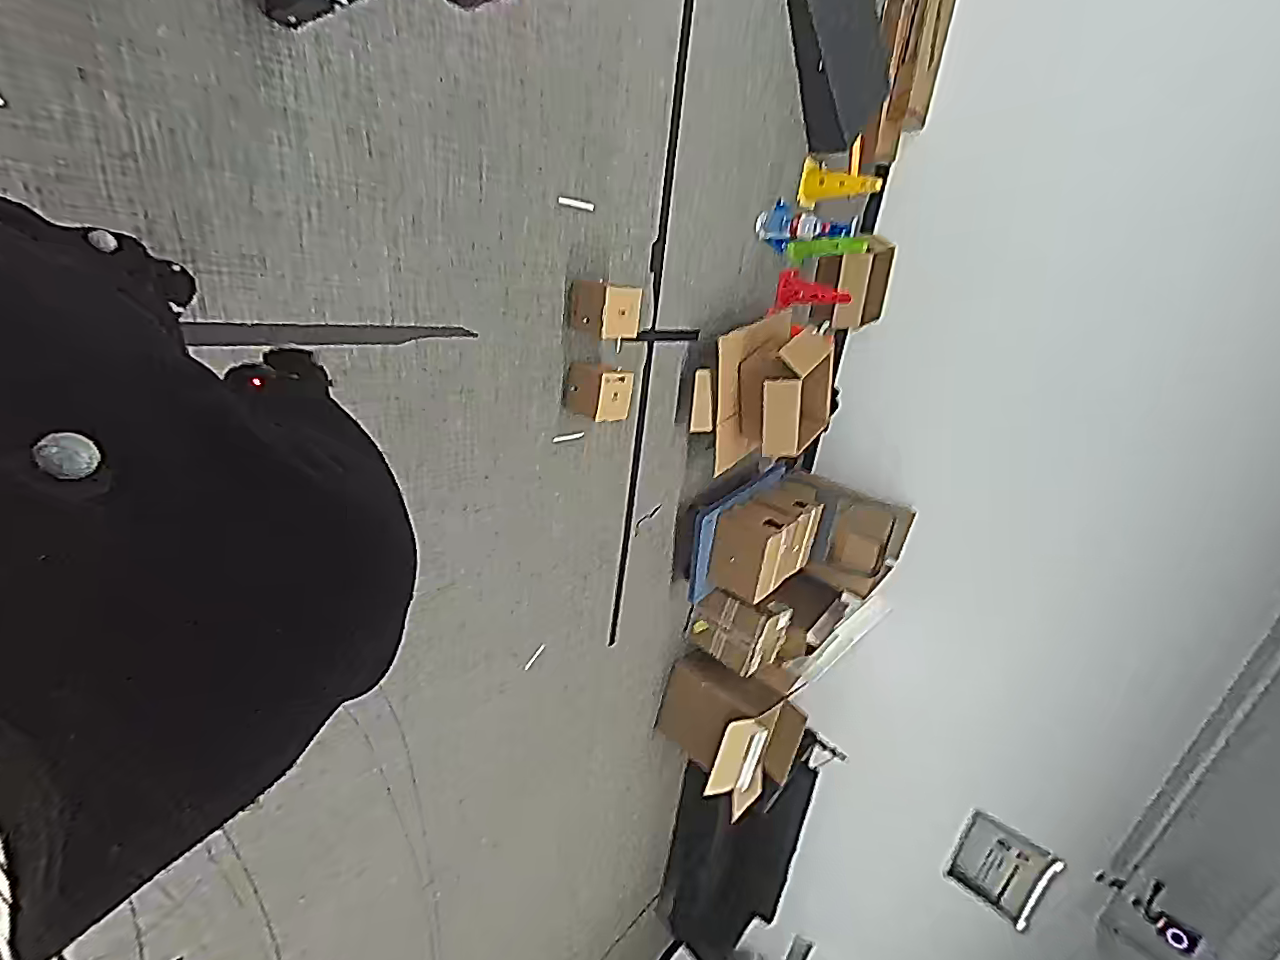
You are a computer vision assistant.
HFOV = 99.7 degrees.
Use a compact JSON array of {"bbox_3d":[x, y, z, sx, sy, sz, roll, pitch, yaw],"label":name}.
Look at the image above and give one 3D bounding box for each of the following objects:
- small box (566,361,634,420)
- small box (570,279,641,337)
[{"bbox_3d":[-0.151,-0.330,1.988,0.168,0.176,0.179,-12,120,-48],"label":"small box"},{"bbox_3d":[-0.124,-0.595,1.868,0.179,0.176,0.168,-20,126,-46],"label":"small box"}]
